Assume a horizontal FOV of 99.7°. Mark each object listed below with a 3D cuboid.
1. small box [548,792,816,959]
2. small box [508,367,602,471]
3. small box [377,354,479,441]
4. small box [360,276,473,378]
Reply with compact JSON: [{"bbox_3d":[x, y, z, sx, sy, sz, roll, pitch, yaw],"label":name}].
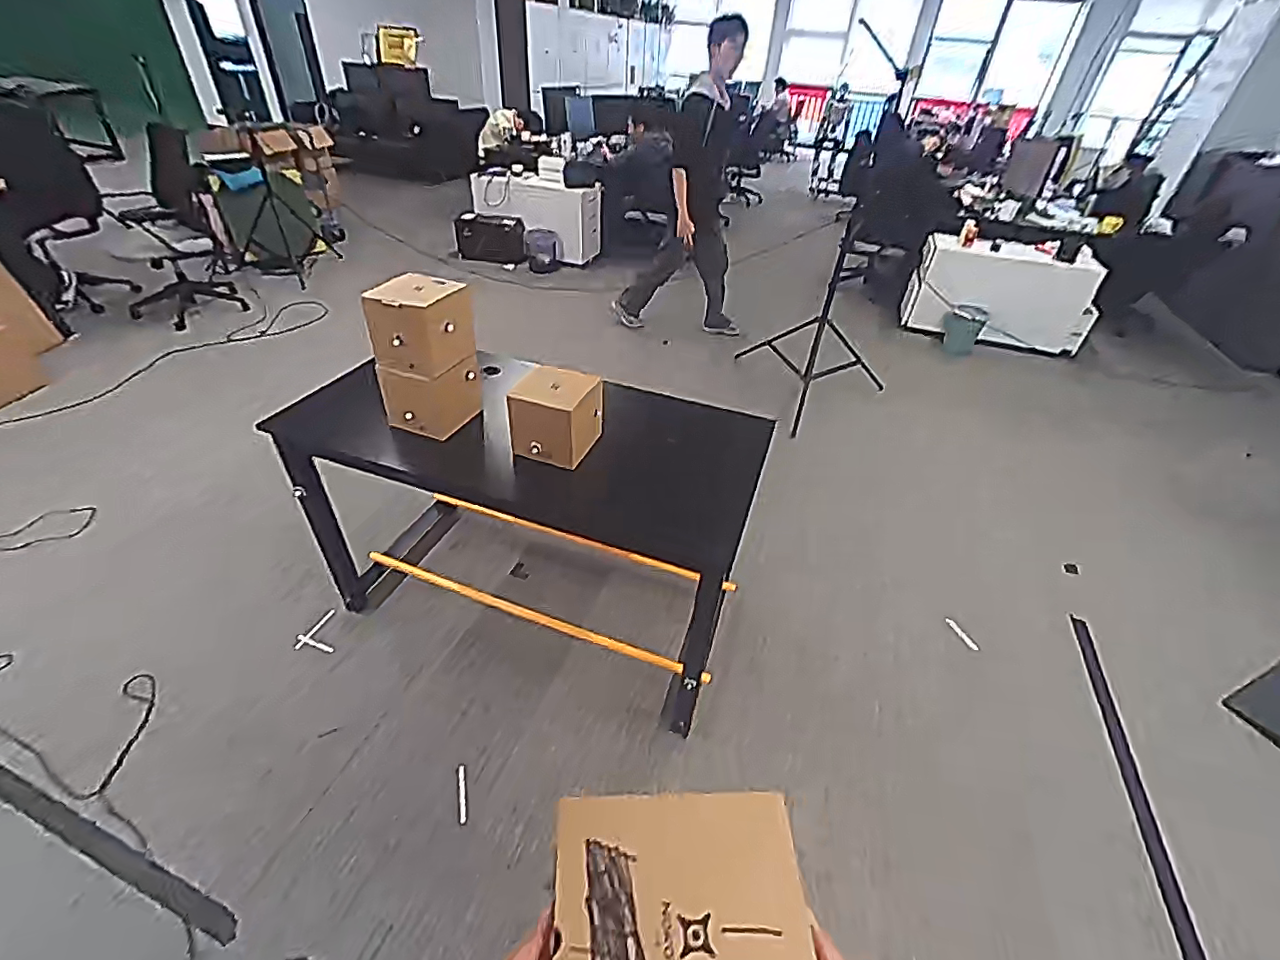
[{"bbox_3d":[0.021,0.354,0.412,0.179,0.176,0.168,2,46,-6],"label":"small box"},{"bbox_3d":[-0.201,-0.150,1.312,0.168,0.176,0.179,14,40,13],"label":"small box"},{"bbox_3d":[-0.525,-0.226,1.369,0.168,0.176,0.179,16,40,14],"label":"small box"},{"bbox_3d":[-0.513,-0.360,1.275,0.168,0.176,0.179,15,40,12],"label":"small box"}]
